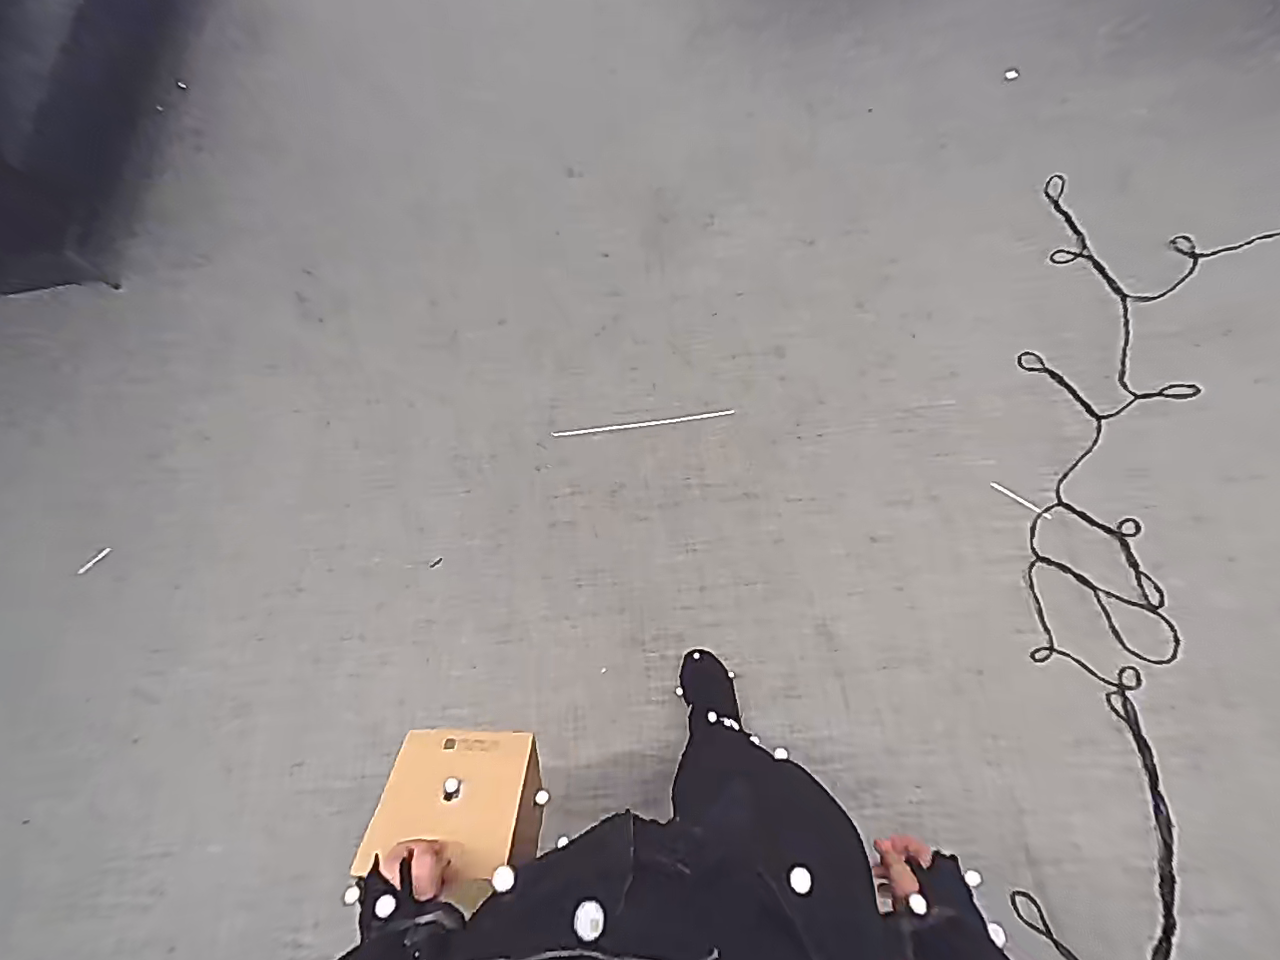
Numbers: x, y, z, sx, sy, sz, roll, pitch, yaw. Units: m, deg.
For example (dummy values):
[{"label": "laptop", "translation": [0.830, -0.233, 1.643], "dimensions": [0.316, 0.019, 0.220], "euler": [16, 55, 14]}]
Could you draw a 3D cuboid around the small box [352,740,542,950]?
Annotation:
[{"label": "small box", "translation": [-0.222, 0.448, 0.674], "dimensions": [0.168, 0.179, 0.176], "euler": [1, 32, 0]}]
